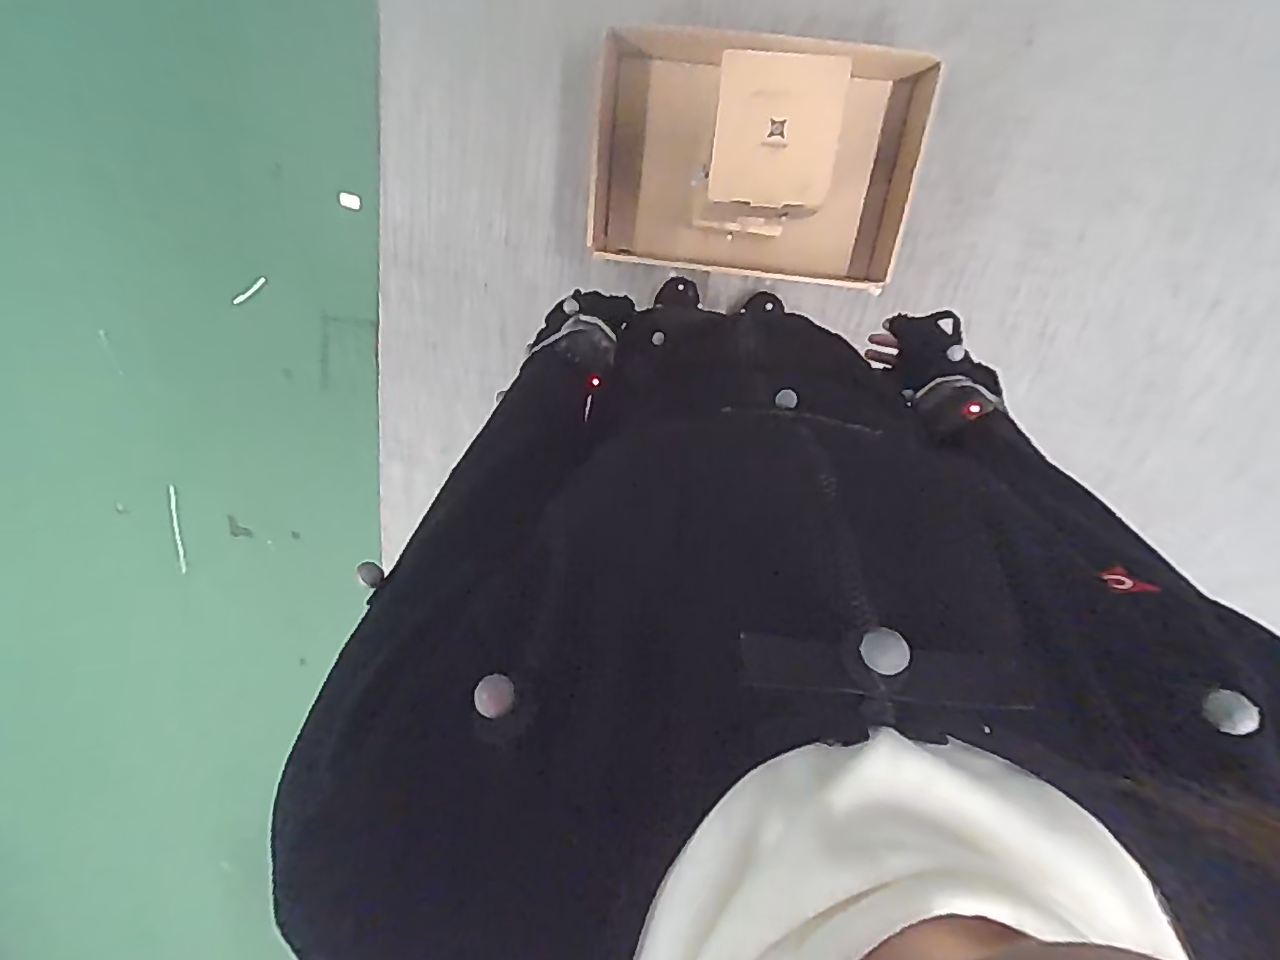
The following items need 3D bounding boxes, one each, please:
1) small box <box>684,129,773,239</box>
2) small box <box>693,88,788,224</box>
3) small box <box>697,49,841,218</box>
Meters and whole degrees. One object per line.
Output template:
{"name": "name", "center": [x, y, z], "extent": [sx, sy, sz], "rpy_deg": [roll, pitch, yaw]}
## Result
{"name": "small box", "center": [0.191, -0.599, 1.113], "extent": [0.179, 0.176, 0.168], "rpy_deg": [10, 111, 2]}
{"name": "small box", "center": [0.184, -0.551, 0.941], "extent": [0.168, 0.176, 0.179], "rpy_deg": [6, 112, 2]}
{"name": "small box", "center": [0.174, -0.489, 0.790], "extent": [0.168, 0.176, 0.179], "rpy_deg": [5, 110, 2]}
